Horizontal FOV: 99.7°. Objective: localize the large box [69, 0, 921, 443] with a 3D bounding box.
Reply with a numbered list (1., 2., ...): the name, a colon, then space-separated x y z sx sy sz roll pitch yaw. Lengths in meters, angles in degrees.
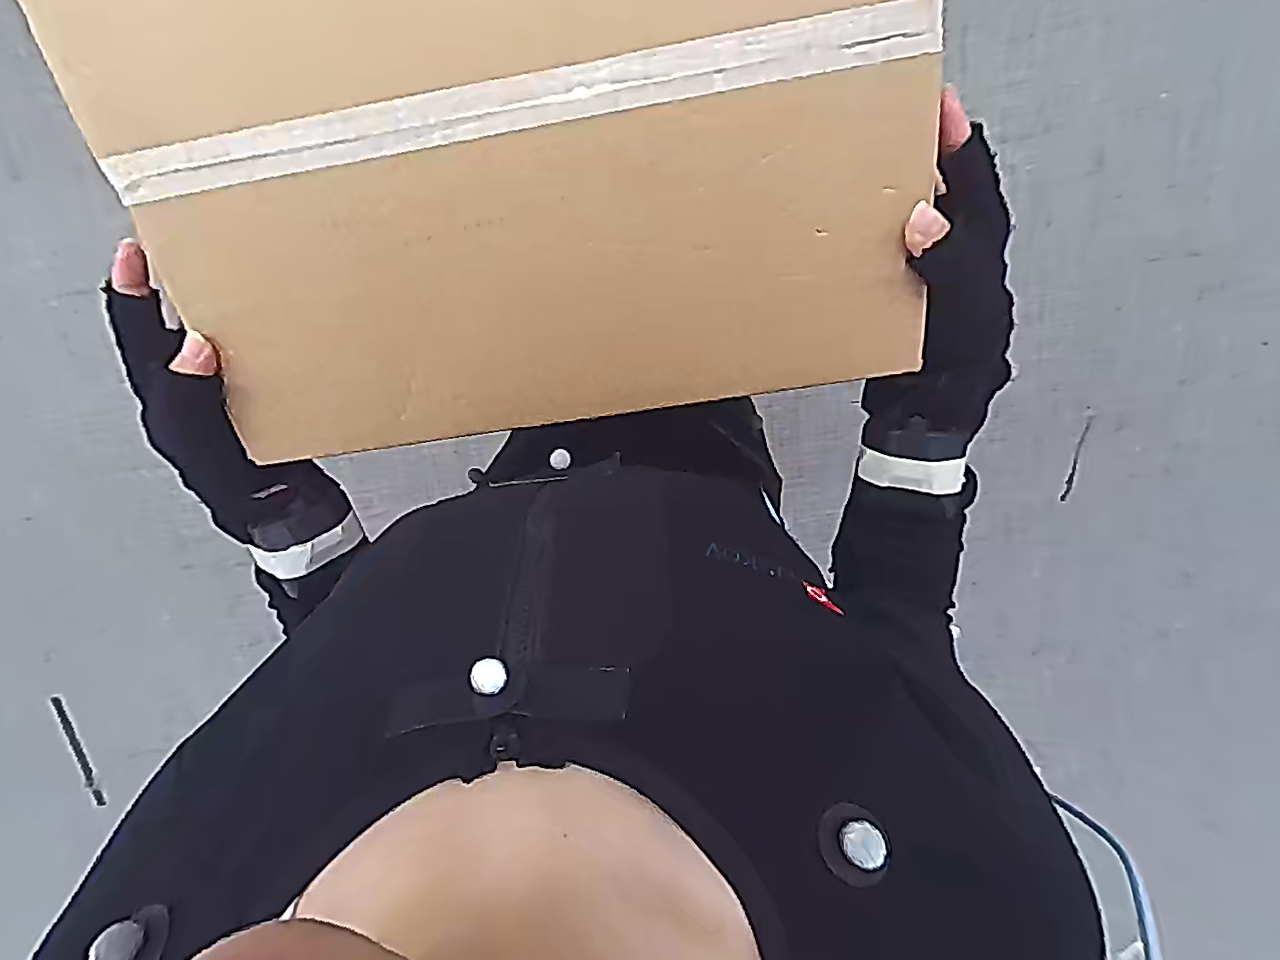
1. large box: -0.063 -0.249 0.406 0.408 0.320 0.320 -8 115 4
